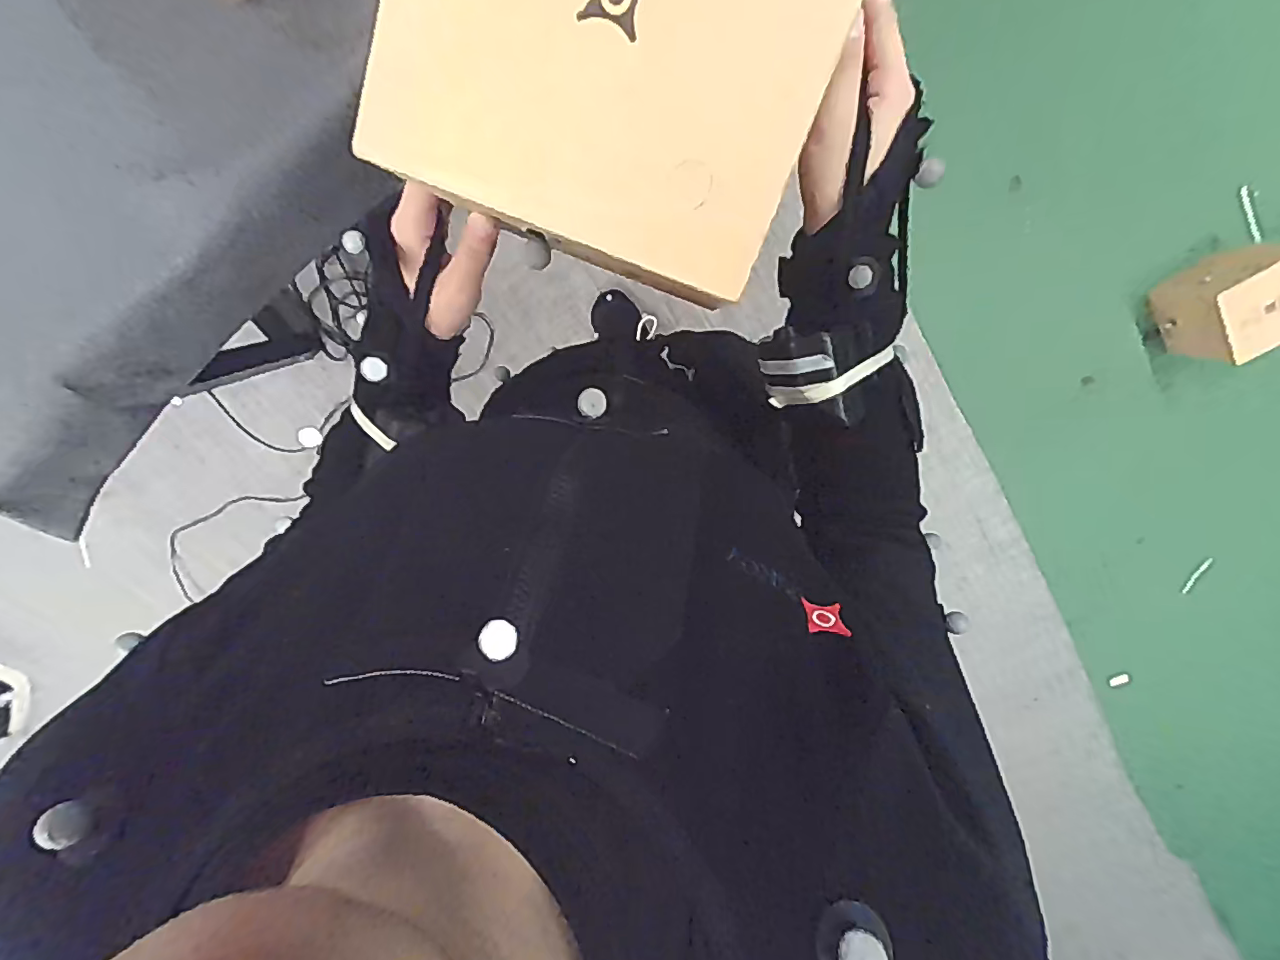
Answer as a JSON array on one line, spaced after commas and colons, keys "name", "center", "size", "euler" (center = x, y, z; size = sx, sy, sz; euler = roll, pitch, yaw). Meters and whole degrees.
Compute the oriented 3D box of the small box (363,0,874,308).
[{"name": "small box", "center": [0.004, -0.195, 0.263], "size": [0.168, 0.176, 0.179], "euler": [21, 106, -1]}]
